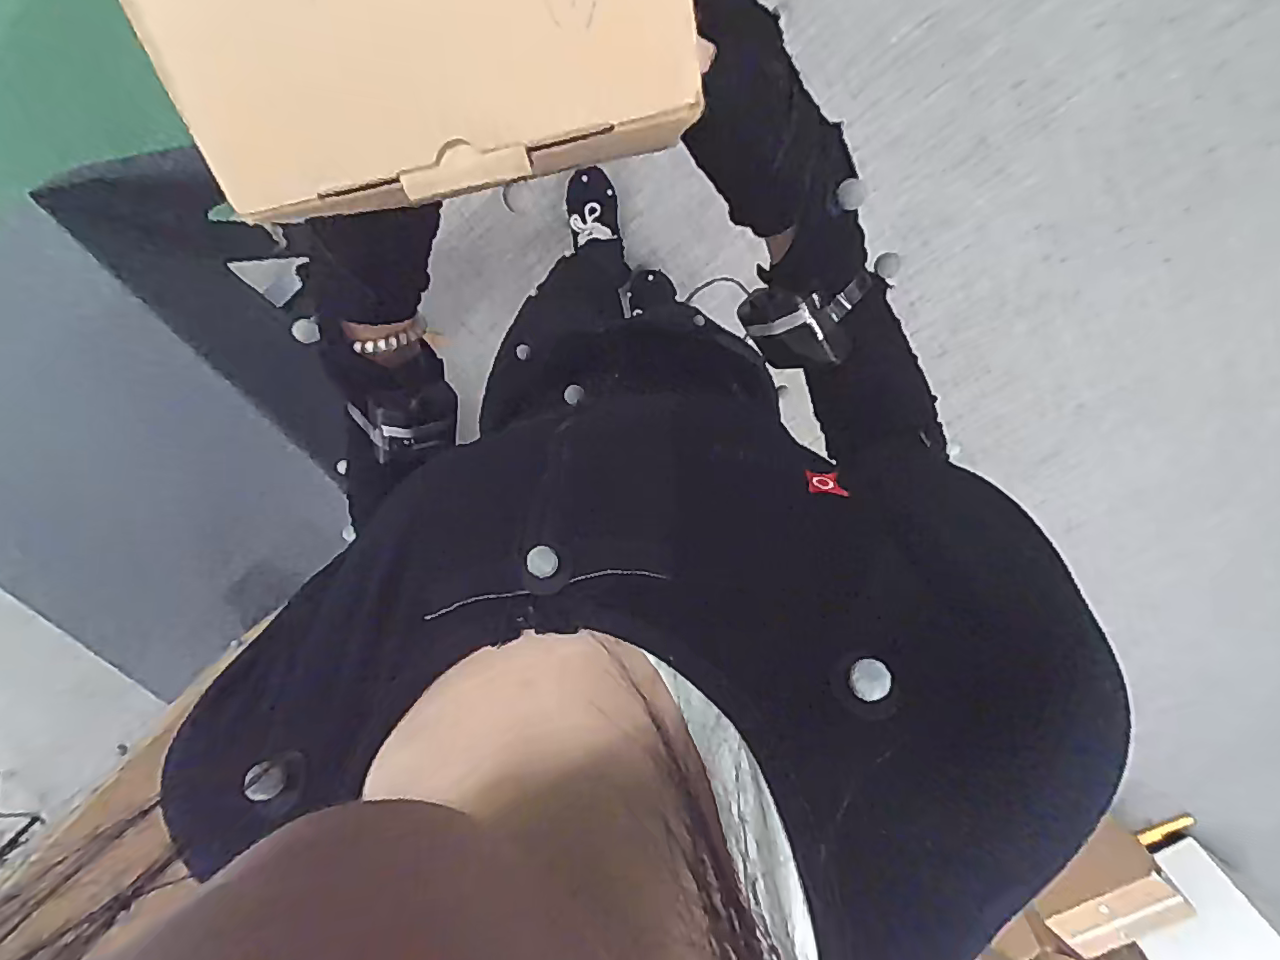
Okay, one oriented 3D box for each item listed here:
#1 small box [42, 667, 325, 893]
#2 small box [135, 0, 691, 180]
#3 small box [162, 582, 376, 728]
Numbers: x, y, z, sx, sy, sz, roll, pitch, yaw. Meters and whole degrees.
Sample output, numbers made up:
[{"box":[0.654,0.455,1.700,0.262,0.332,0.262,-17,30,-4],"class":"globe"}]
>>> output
[{"box":[-0.556,0.366,0.685,0.168,0.176,0.179,-35,109,17],"class":"small box"},{"box":[-0.077,-0.229,0.205,0.168,0.176,0.179,-10,120,4],"class":"small box"},{"box":[-0.552,0.293,0.831,0.179,0.176,0.168,-33,110,15],"class":"small box"}]
